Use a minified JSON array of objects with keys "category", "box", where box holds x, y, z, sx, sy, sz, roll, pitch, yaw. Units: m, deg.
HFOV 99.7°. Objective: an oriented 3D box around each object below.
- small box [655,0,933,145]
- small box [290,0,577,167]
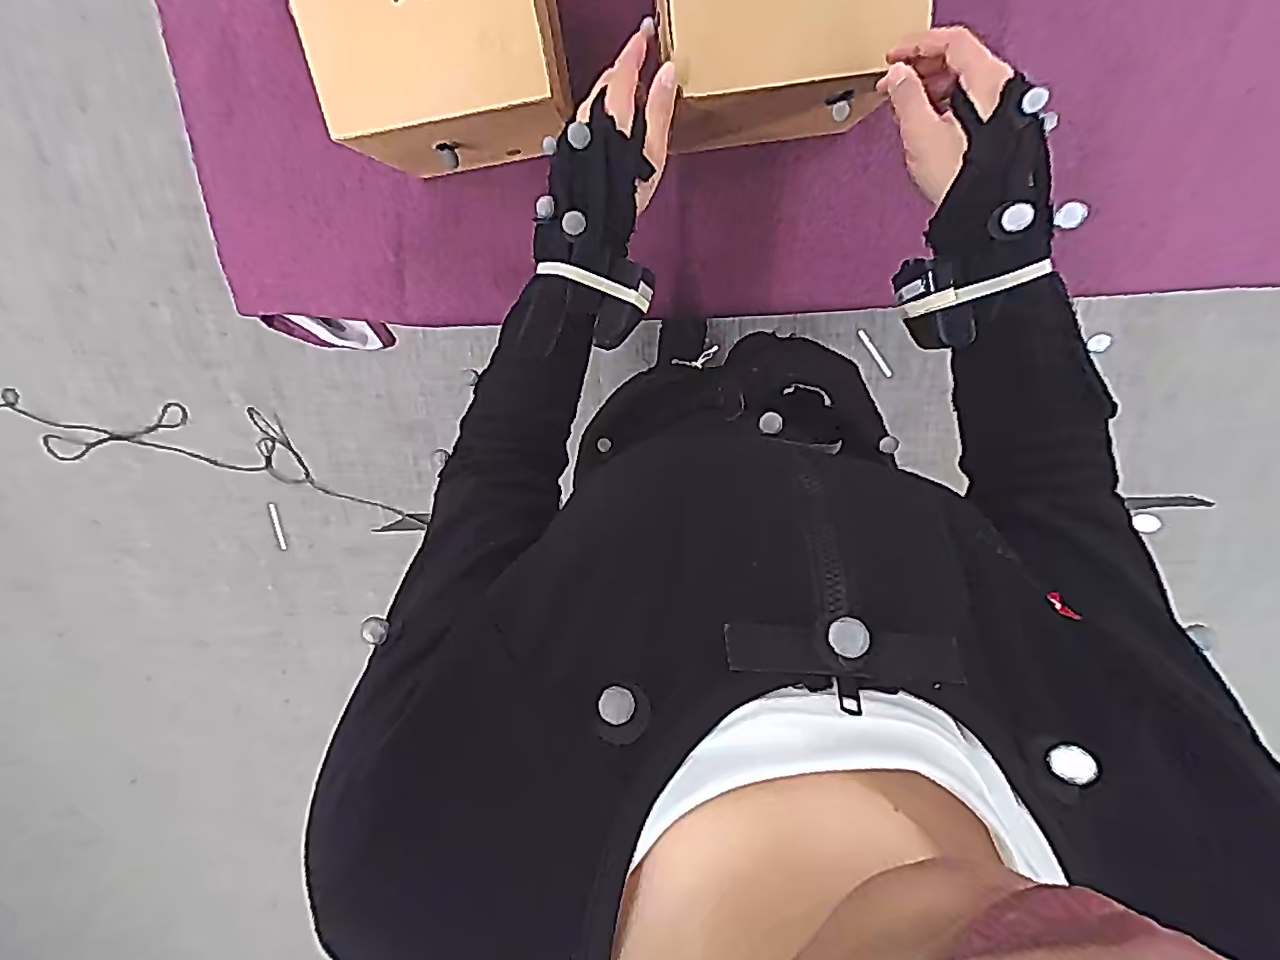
[{"category":"small box","box":[0.103,-0.379,0.418,0.179,0.176,0.168,-6,109,3]},{"category":"small box","box":[-0.153,-0.367,0.430,0.168,0.176,0.179,-9,109,4]}]
